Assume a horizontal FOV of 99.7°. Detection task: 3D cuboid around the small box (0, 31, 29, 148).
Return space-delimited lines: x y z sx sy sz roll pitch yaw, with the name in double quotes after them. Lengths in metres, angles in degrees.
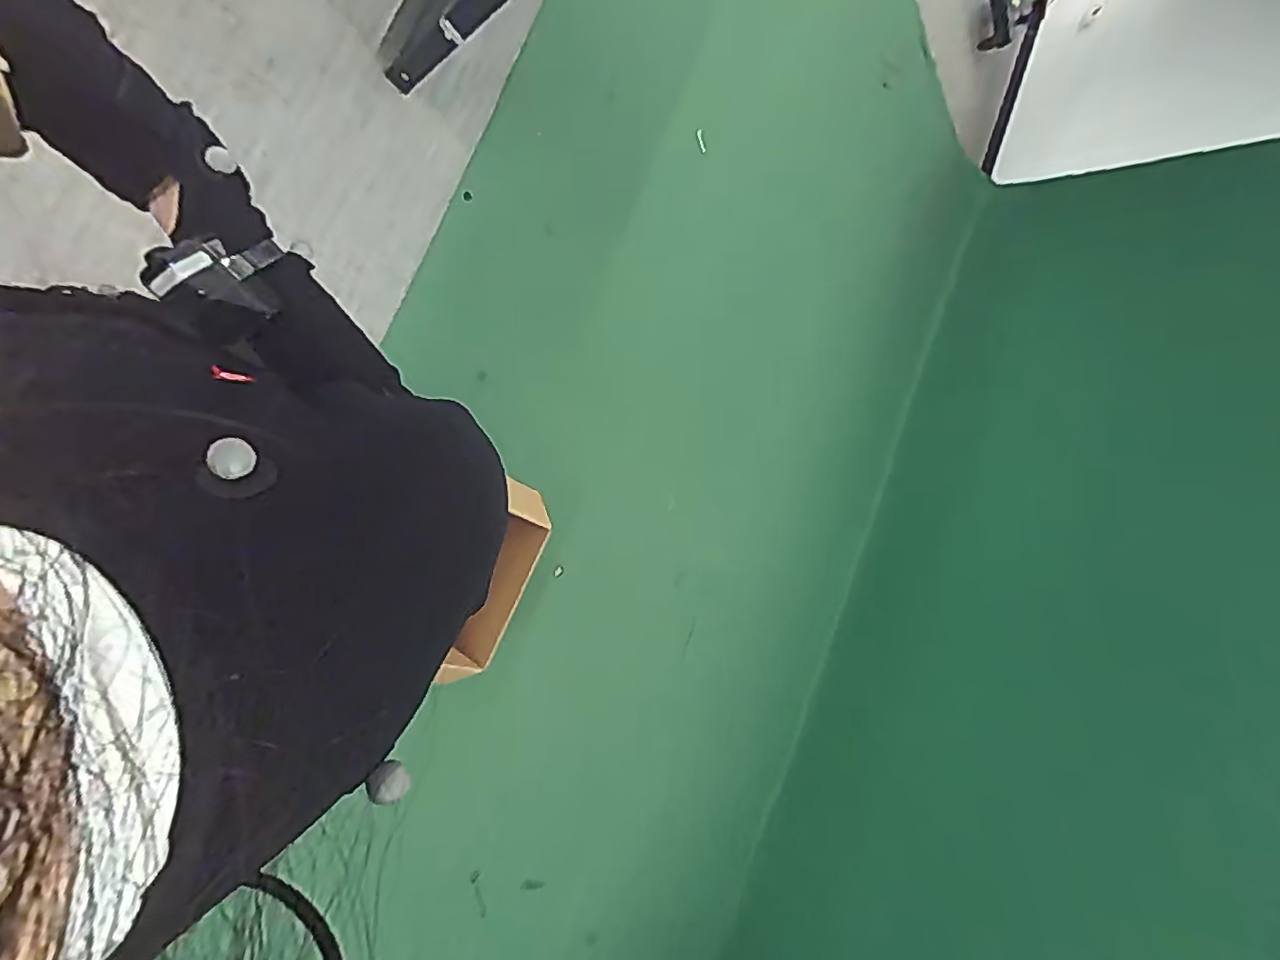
-0.411 -0.252 0.222 0.168 0.176 0.179 -27 123 -40 "small box"
